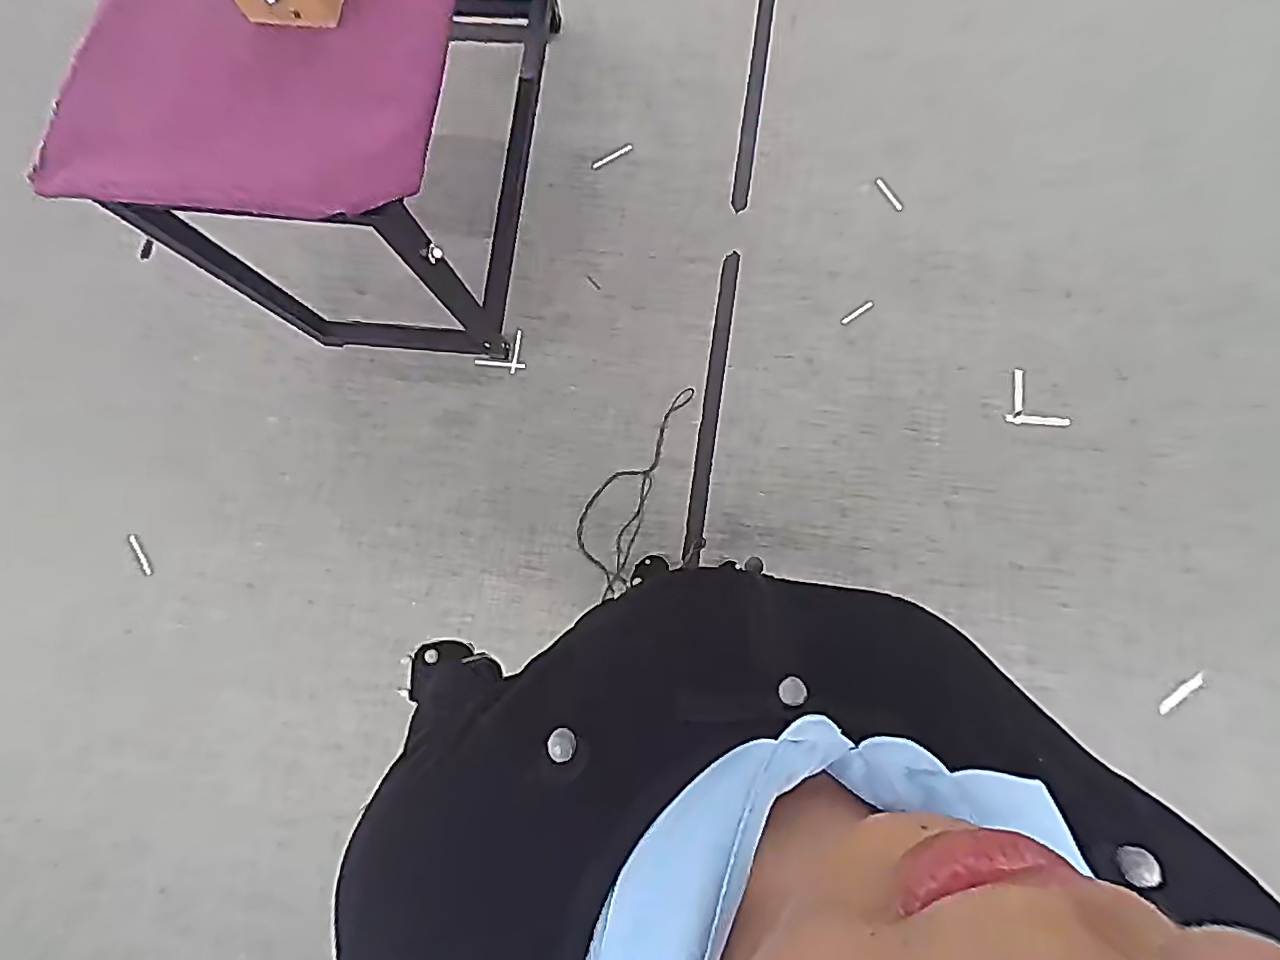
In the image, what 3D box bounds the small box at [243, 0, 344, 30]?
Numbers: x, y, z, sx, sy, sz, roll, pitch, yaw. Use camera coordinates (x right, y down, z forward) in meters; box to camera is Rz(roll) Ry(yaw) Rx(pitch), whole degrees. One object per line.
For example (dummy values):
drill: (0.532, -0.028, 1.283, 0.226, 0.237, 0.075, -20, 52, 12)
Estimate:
small box: (-0.606, -0.904, 0.894, 0.168, 0.176, 0.179, 8, 82, 5)
